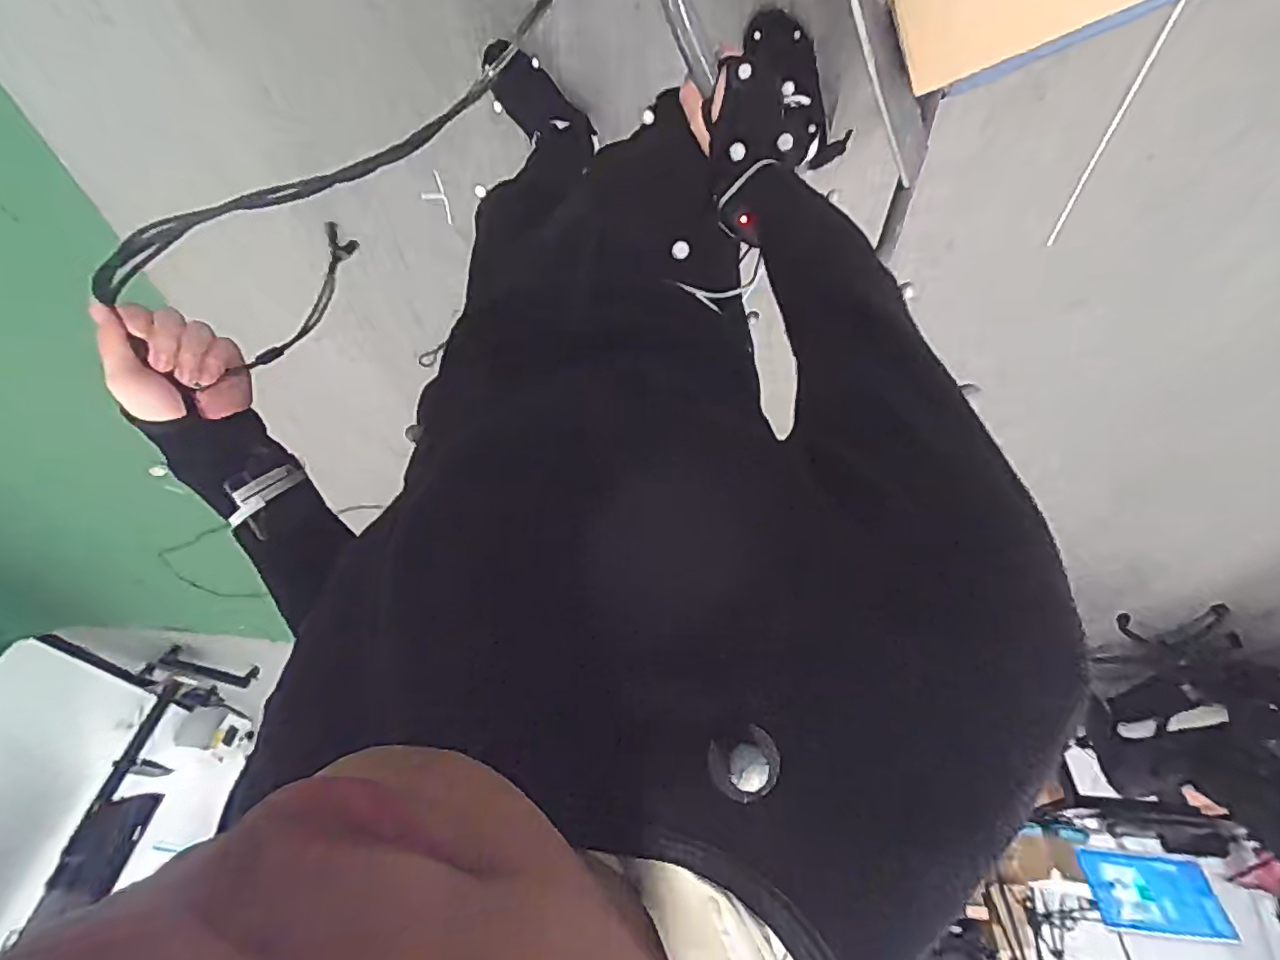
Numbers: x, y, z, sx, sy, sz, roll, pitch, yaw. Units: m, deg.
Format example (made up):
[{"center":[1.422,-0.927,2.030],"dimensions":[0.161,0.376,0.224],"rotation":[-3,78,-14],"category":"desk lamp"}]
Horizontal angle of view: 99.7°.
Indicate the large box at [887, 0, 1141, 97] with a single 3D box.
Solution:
[{"center":[0.526,-0.782,0.661],"dimensions":[0.408,0.320,0.320],"rotation":[-2,144,38],"category":"large box"}]
